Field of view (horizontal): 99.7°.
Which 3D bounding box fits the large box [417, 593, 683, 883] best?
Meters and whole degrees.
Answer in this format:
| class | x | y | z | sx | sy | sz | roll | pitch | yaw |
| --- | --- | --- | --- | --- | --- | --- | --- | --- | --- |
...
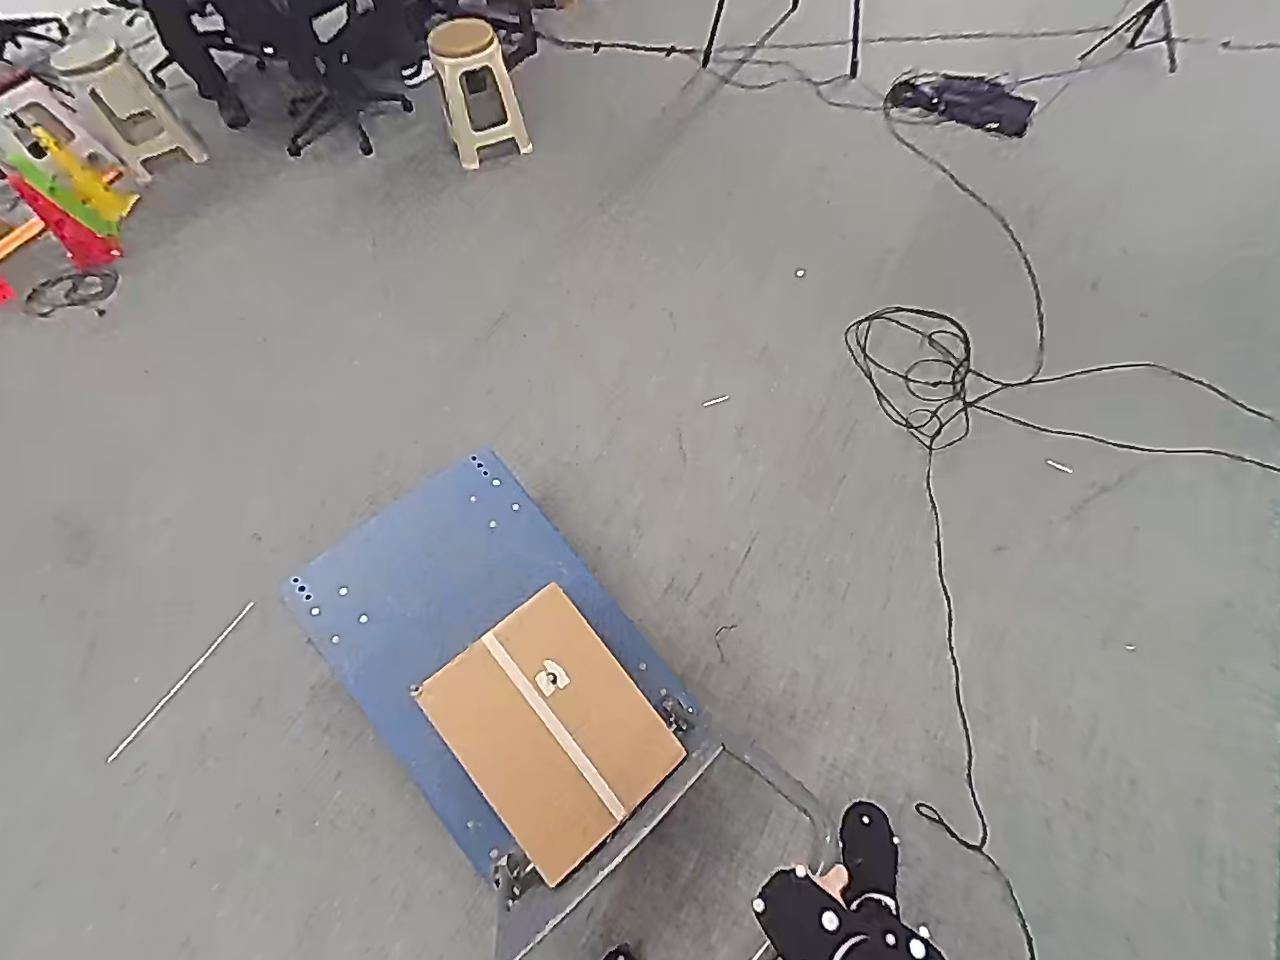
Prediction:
| class | x | y | z | sx | sy | sz | roll | pitch | yaw |
| --- | --- | --- | --- | --- | --- | --- | --- | --- | --- |
| large box | -0.178 | 0.495 | 1.125 | 0.320 | 0.320 | 0.408 | -38 | 83 | -18 |
